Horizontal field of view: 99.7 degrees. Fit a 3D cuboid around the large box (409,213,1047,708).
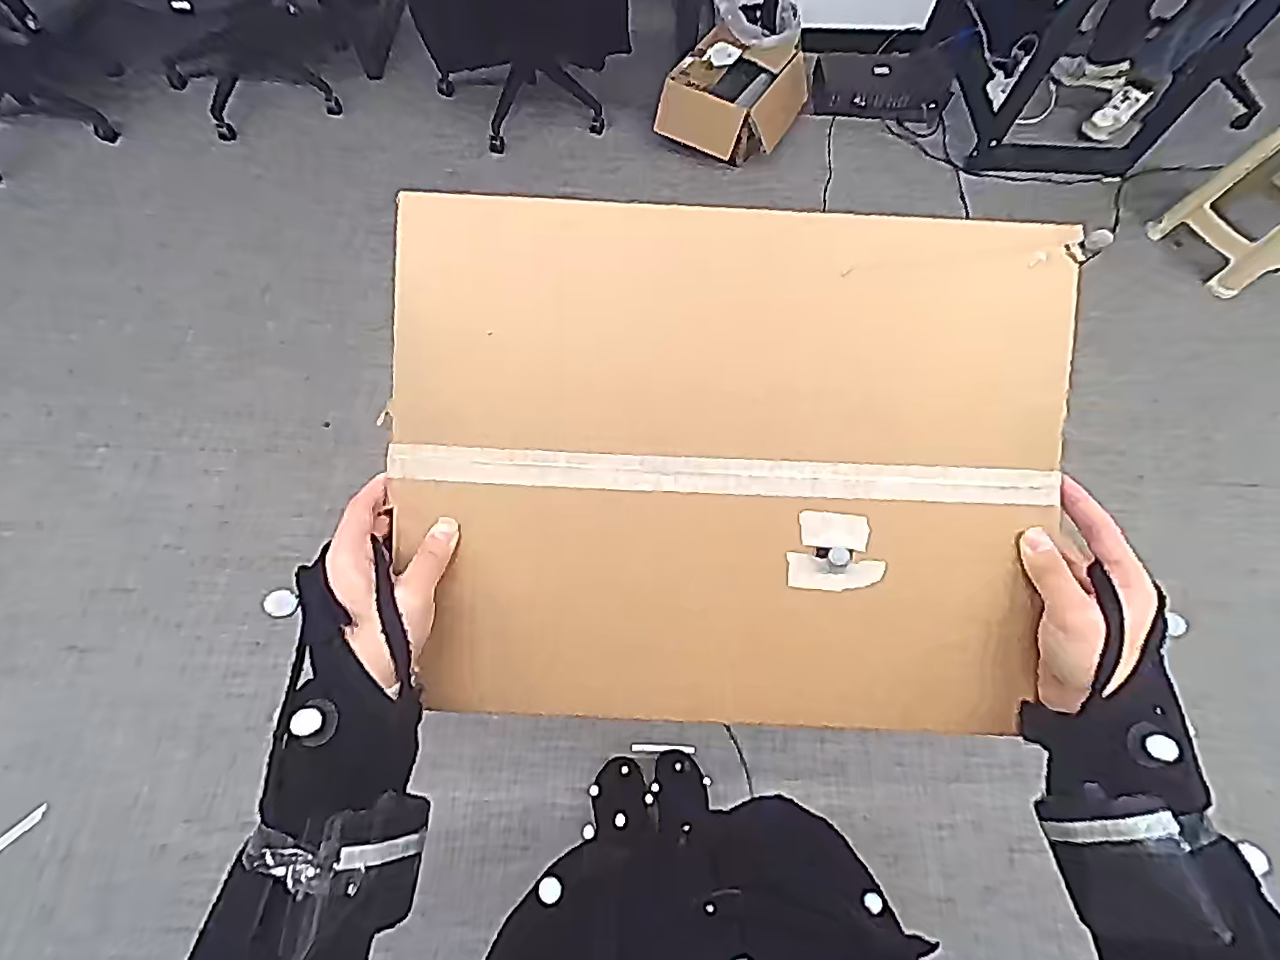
[{"bbox_3d":[0.050,-0.015,0.491,0.408,0.320,0.320,2,94,-1],"label":"large box"}]
